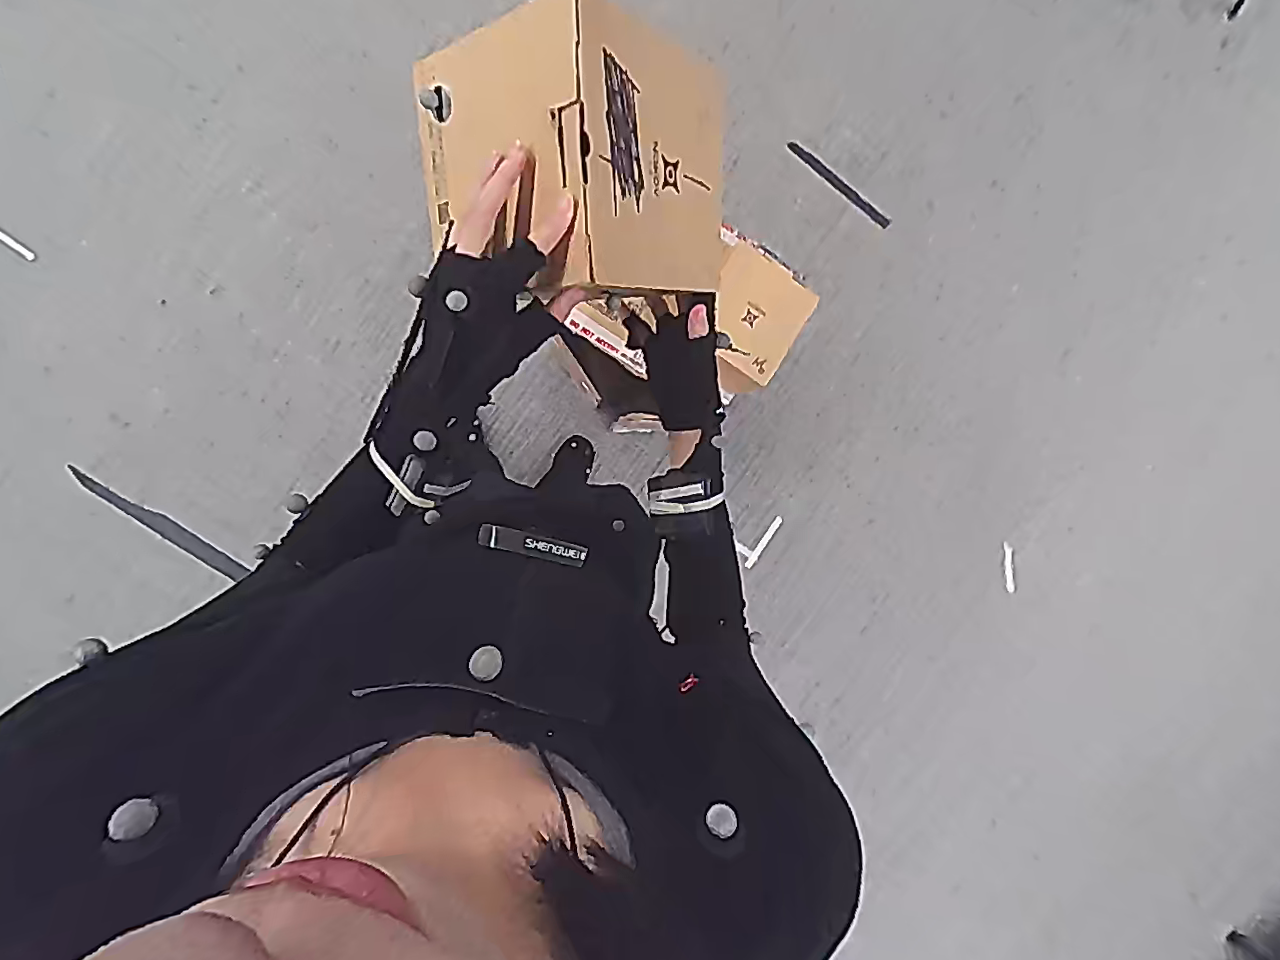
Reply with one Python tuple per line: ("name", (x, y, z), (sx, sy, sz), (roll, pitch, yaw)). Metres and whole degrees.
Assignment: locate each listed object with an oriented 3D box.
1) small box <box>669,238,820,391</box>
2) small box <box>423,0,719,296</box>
("small box", (0.169, -0.275, 0.942), (0.168, 0.176, 0.179), (32, 89, -9))
("small box", (-0.052, -0.239, 0.432), (0.176, 0.179, 0.168), (10, 111, 35))
